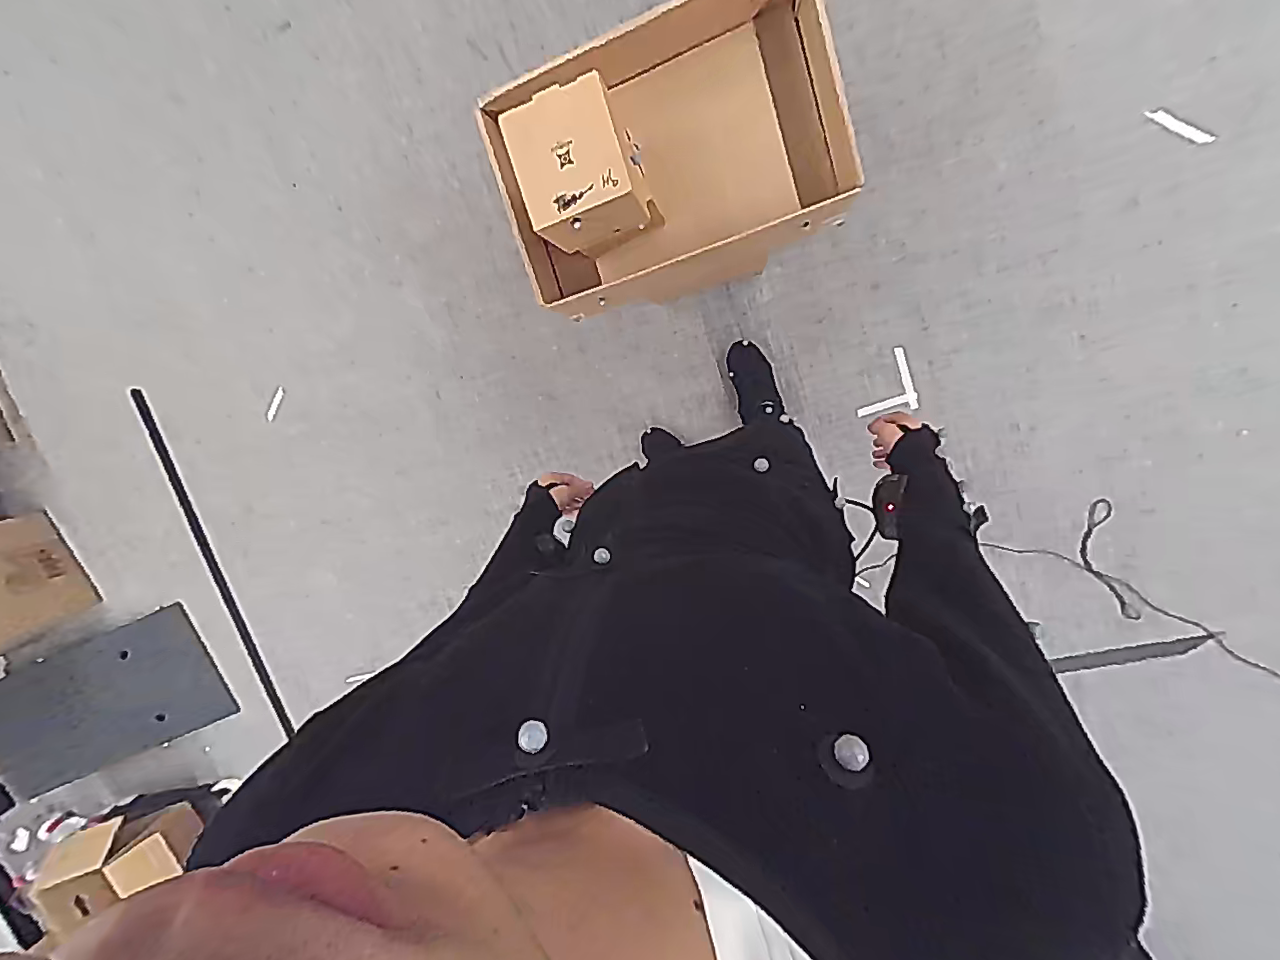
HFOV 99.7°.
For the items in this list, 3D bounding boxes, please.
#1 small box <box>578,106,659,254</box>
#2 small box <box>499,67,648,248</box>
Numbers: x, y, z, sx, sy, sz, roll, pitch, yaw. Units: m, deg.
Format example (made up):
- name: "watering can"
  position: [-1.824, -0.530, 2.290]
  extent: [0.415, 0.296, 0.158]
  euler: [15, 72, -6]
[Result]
- name: "small box"
  position: [-0.072, -0.557, 1.031]
  extent: [0.179, 0.176, 0.168]
  euler: [-21, 97, 15]
- name: "small box"
  position: [-0.098, -0.505, 0.877]
  extent: [0.168, 0.176, 0.179]
  euler: [-15, 98, 14]
